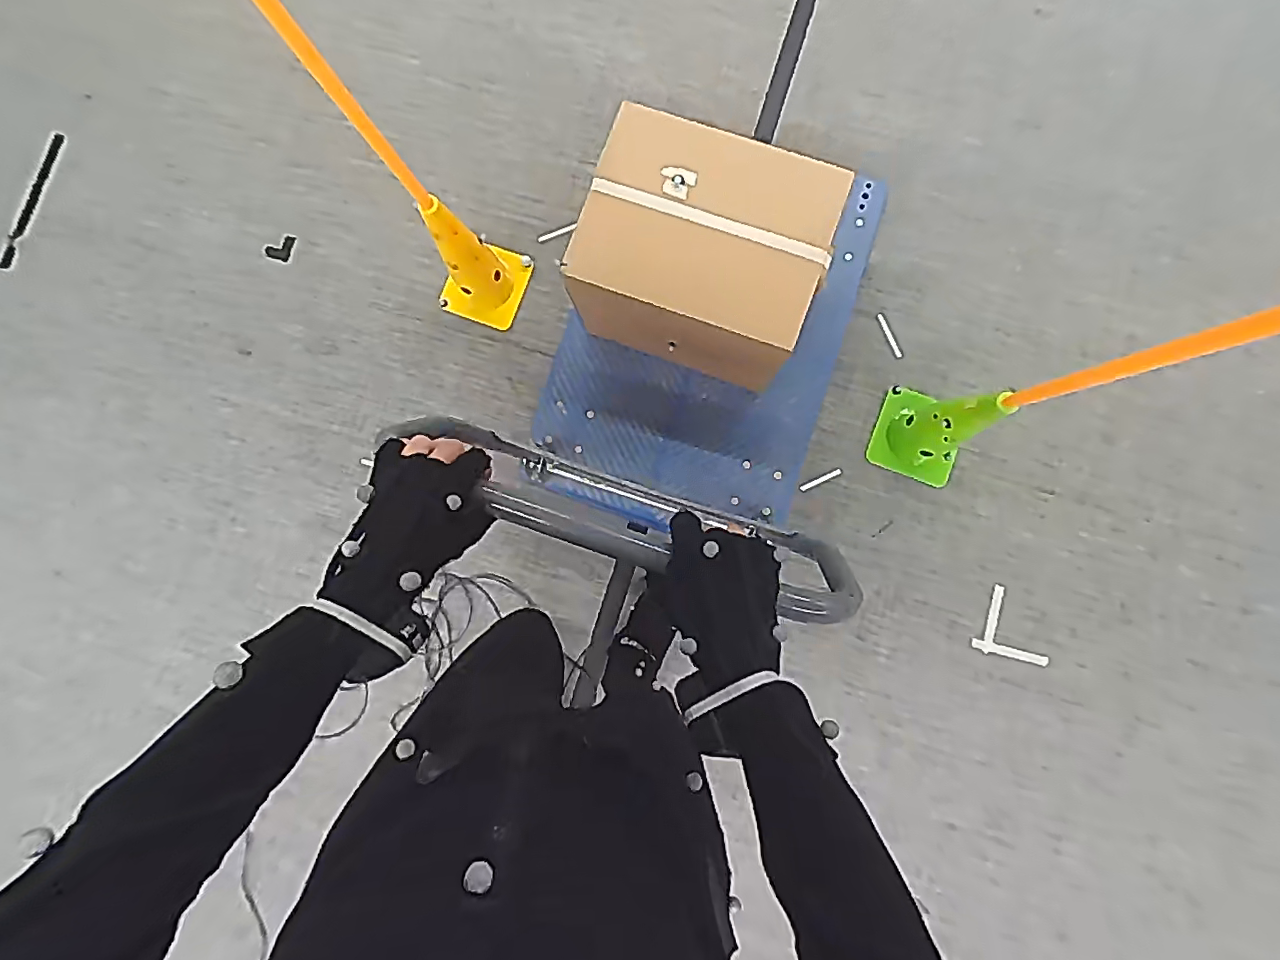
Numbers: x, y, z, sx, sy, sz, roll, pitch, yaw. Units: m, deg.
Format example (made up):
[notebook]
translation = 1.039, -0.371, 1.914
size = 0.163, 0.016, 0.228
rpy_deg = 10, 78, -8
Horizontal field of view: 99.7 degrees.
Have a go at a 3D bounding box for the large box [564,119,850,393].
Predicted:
[large box]
translation = 0.120, -0.396, 1.039
size = 0.408, 0.320, 0.320
rpy_deg = 21, 88, 5

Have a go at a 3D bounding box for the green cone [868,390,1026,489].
[green cone]
translation = 0.662, -0.111, 1.129
size = 0.202, 0.368, 0.200
rpy_deg = 21, 87, 3
